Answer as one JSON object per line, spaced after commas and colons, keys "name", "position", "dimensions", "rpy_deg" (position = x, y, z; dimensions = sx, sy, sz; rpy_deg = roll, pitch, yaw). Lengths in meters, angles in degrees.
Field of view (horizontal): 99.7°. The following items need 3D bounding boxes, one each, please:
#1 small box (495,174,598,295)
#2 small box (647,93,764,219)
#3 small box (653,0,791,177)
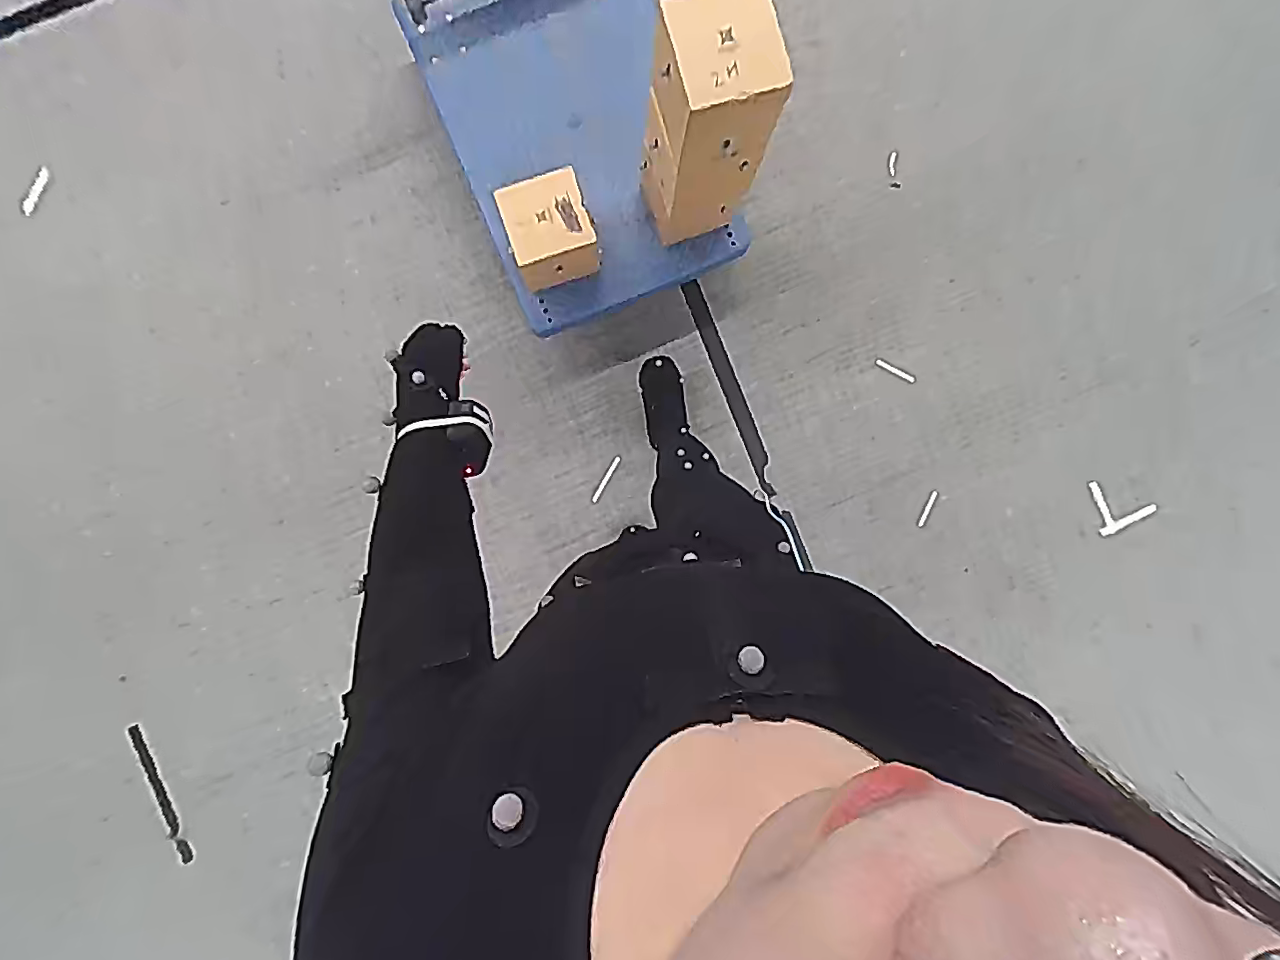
{"name": "small box", "position": [-0.198, -0.538, 1.204], "dimensions": [0.179, 0.176, 0.168], "rpy_deg": [-19, 91, -1]}
{"name": "small box", "position": [0.117, -0.641, 1.052], "dimensions": [0.179, 0.176, 0.168], "rpy_deg": [-18, 91, -3]}
{"name": "small box", "position": [0.123, -0.642, 0.887], "dimensions": [0.168, 0.176, 0.179], "rpy_deg": [-16, 91, -2]}
